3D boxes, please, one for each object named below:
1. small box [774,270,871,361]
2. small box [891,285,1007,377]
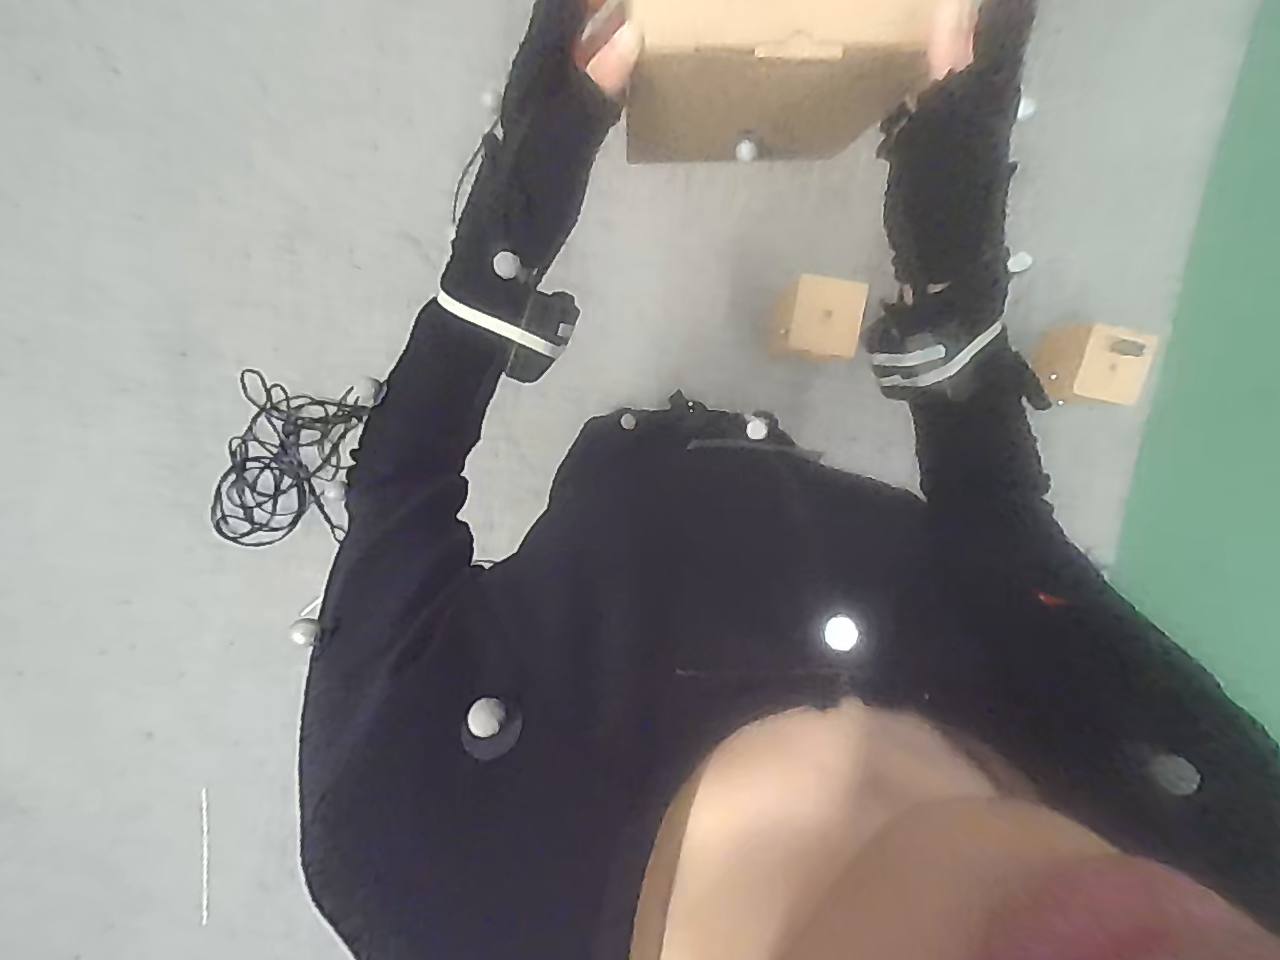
[{"bbox_3d":[0.441,-0.398,1.336,0.168,0.176,0.179,8,98,-1],"label":"small box"},{"bbox_3d":[0.753,-0.360,1.342,0.168,0.176,0.179,14,97,-3],"label":"small box"}]
